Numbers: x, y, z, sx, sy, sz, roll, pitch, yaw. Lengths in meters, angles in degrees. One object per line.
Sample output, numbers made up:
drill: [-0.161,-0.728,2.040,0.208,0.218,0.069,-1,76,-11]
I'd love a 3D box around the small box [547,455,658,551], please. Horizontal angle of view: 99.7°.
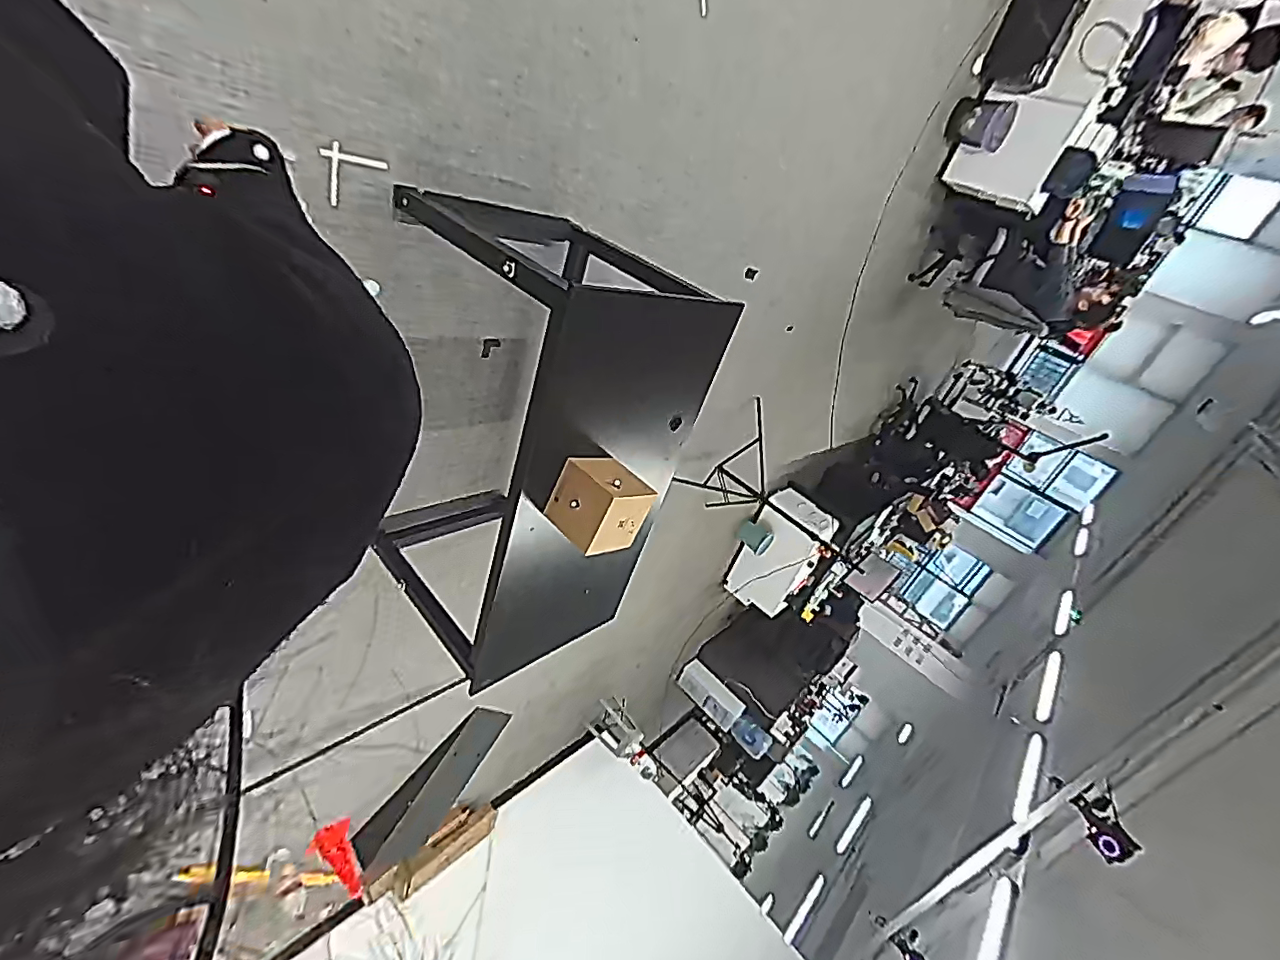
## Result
small box: [-0.095,0.050,1.319,0.179,0.176,0.168,-4,127,-54]
